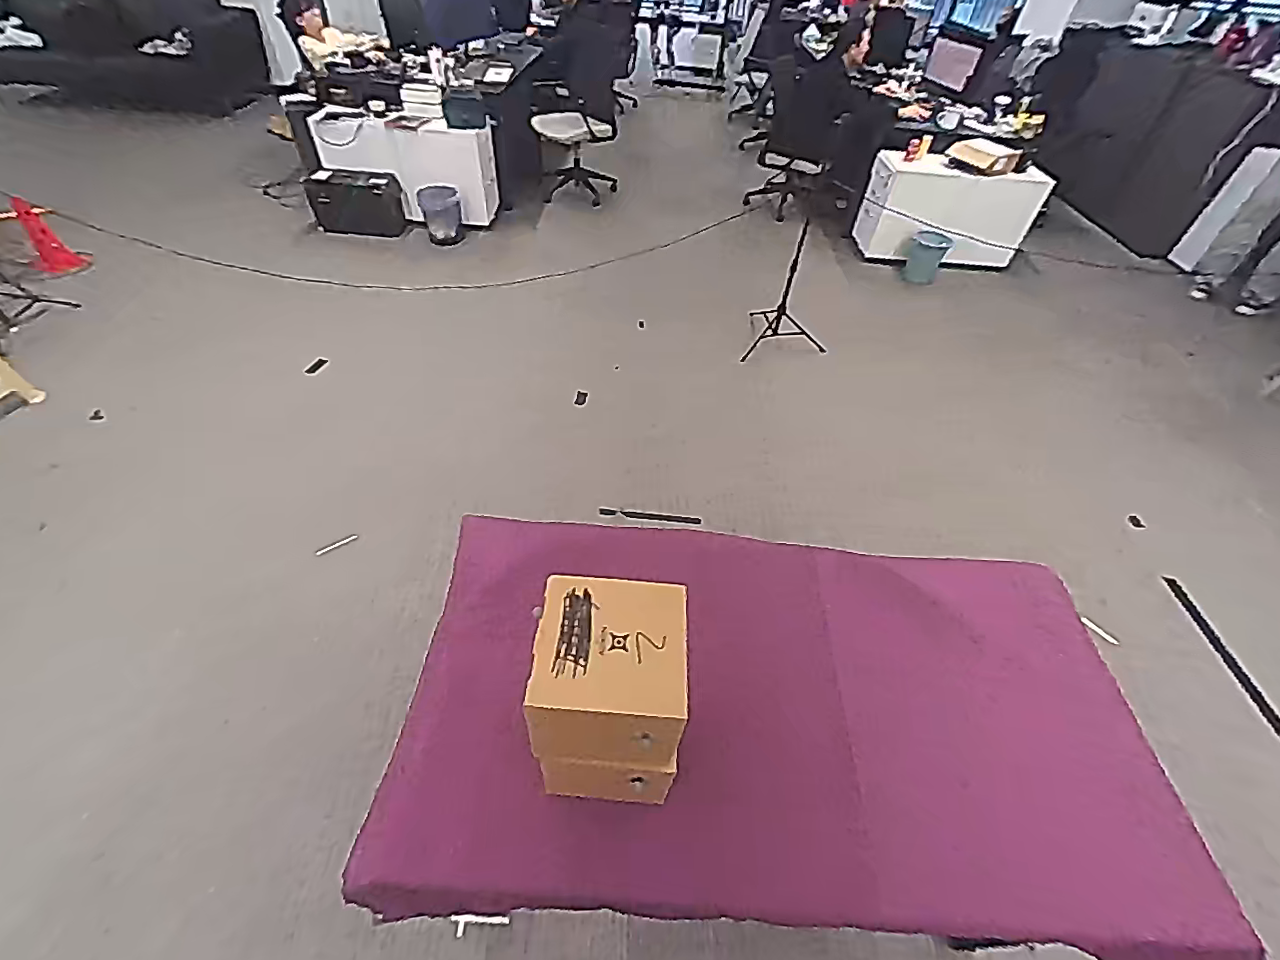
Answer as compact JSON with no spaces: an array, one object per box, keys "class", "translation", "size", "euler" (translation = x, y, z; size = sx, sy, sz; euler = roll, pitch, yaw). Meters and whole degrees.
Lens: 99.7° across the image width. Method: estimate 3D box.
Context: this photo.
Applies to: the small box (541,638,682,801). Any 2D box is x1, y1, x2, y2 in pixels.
[{"class":"small box","translation":[-0.039,0.355,0.793],"size":[0.179,0.176,0.168],"euler":[6,47,0]}]
